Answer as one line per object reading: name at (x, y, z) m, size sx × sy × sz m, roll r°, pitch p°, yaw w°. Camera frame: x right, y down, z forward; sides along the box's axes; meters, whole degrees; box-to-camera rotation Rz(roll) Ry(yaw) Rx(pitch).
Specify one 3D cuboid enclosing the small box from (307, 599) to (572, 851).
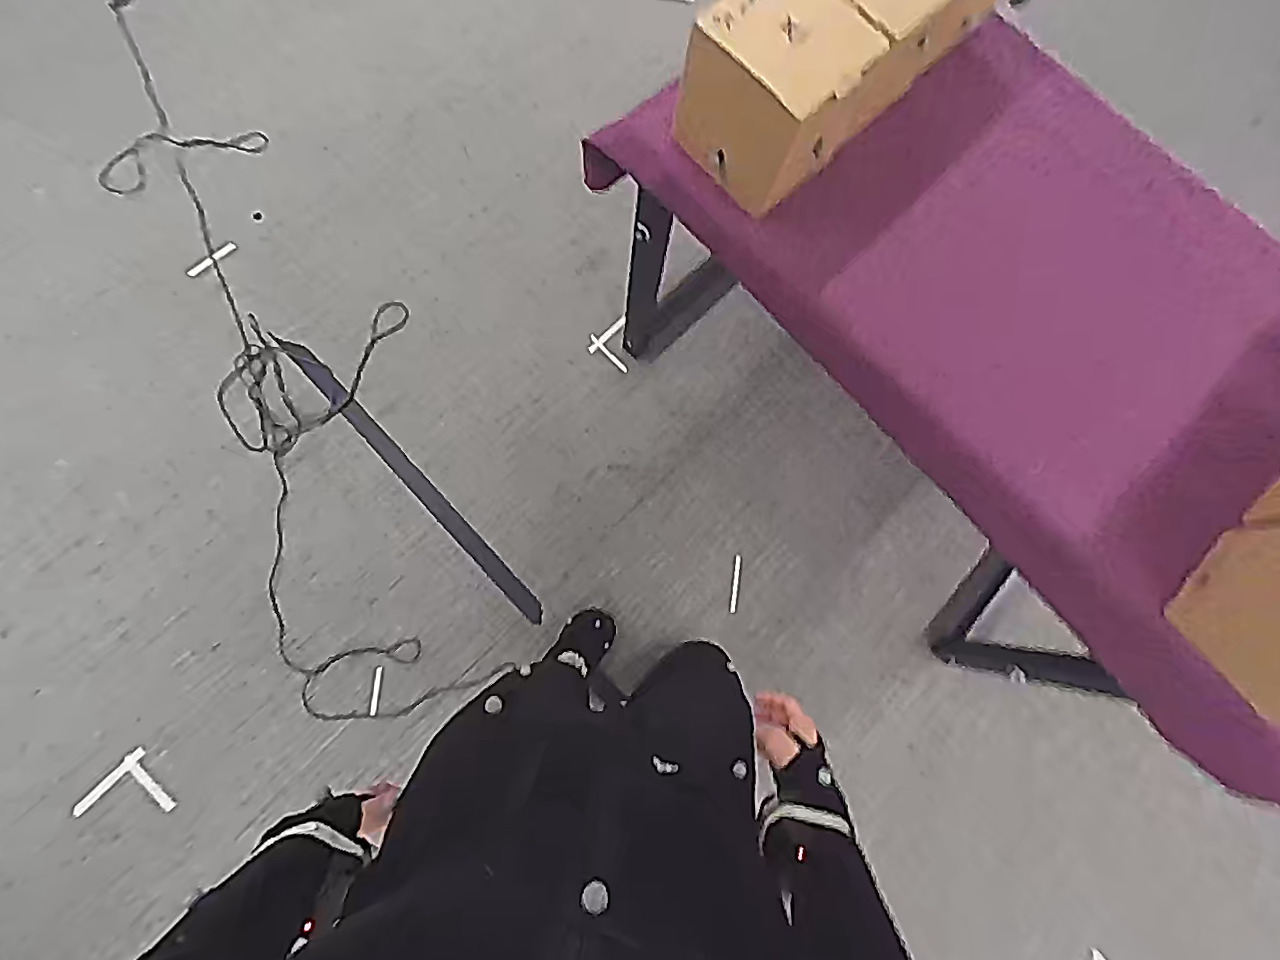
small box at (-0.206, 0.238, 0.568) m, size 0.179 × 0.168 × 0.176 m, roll -25°, pitch 84°, yaw 18°

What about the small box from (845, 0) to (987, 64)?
small box at (0.420, -0.755, 0.767) m, size 0.168 × 0.176 × 0.179 m, roll -42°, pitch 86°, yaw -9°

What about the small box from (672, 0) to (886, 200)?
small box at (0.165, -0.500, 0.698) m, size 0.168 × 0.176 × 0.179 m, roll -43°, pitch 86°, yaw -12°
